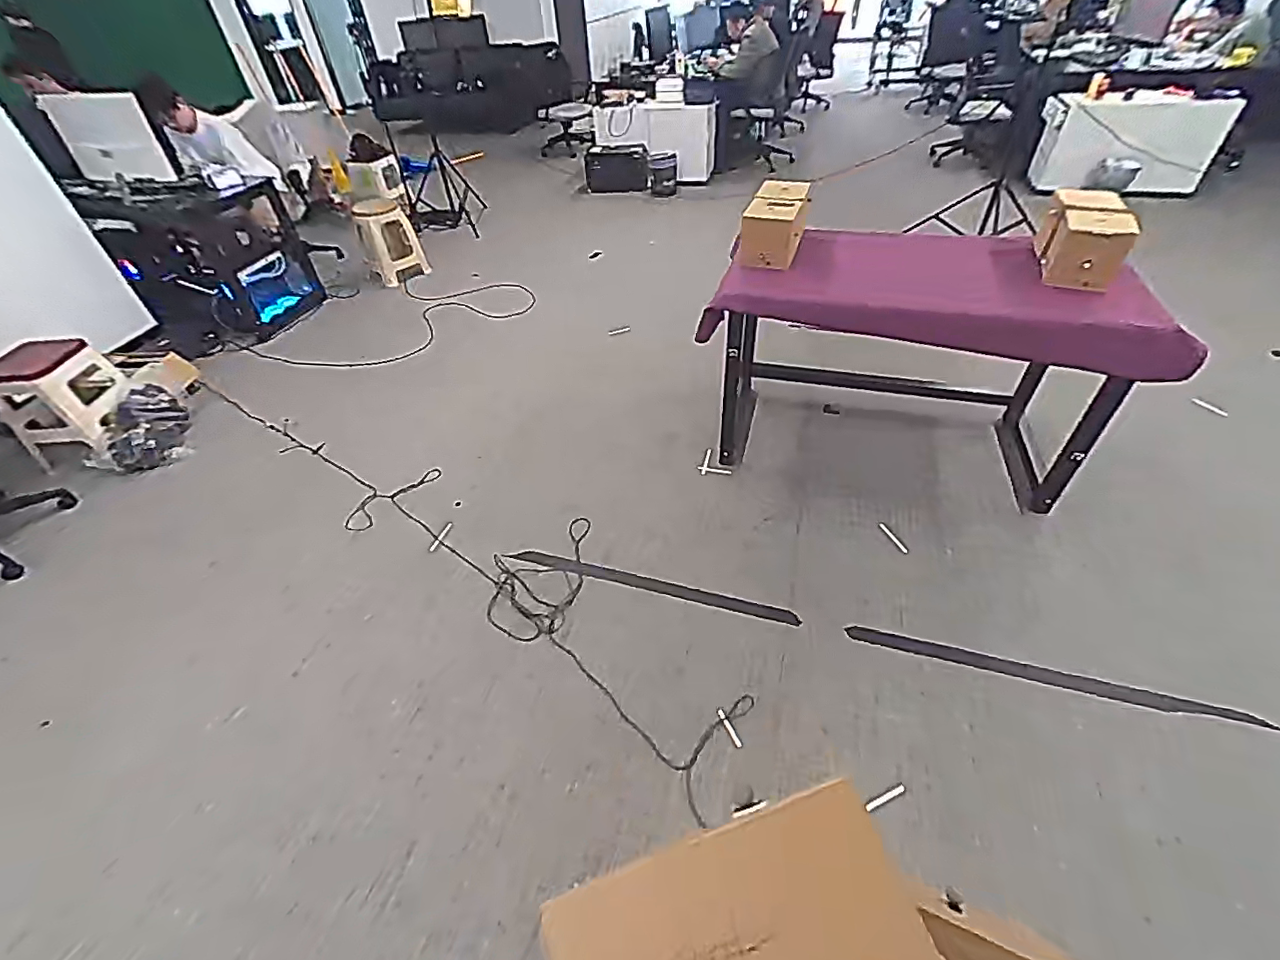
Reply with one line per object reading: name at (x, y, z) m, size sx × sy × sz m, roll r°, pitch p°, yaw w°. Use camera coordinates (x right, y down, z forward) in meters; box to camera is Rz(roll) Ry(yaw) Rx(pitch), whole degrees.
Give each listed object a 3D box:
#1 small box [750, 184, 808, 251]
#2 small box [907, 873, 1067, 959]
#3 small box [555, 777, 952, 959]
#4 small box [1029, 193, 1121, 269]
small box at (0.499, -0.951, 1.955) m, size 0.168 × 0.176 × 0.179 m, roll 13°, pitch 47°, yaw 17°
small box at (0.198, 0.387, 0.377) m, size 0.179 × 0.176 × 0.168 m, roll 13°, pitch 68°, yaw 25°
small box at (0.083, 0.277, 0.282) m, size 0.168 × 0.176 × 0.179 m, roll -27°, pitch 57°, yaw 5°
small box at (1.376, -0.796, 1.726) m, size 0.168 × 0.176 × 0.179 m, roll 13°, pitch 46°, yaw 17°
